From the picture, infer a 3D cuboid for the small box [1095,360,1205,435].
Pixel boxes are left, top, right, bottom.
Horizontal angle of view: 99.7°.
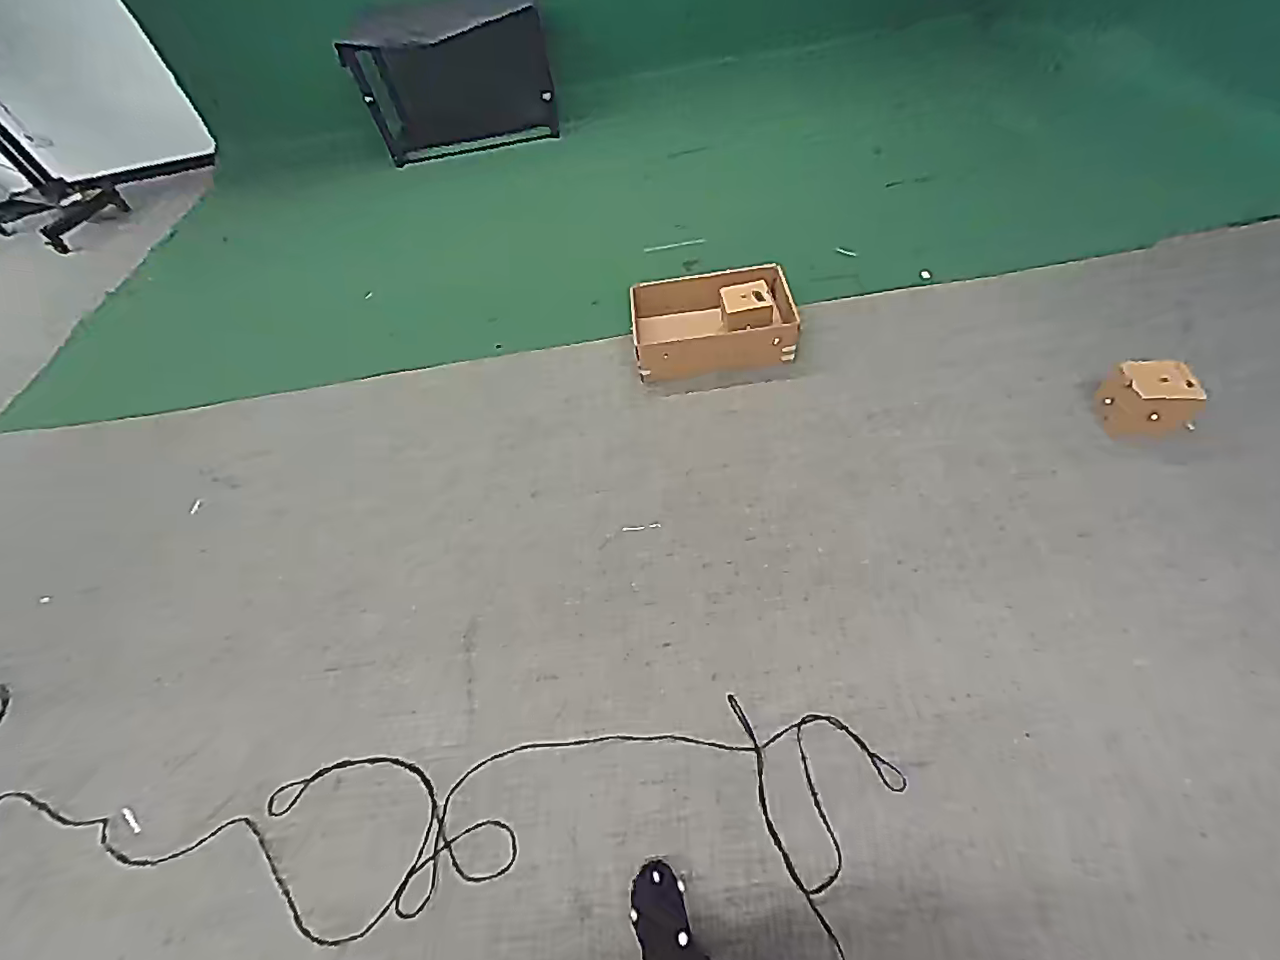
[{"bbox_3d":[1.562,-0.254,1.677,0.179,0.176,0.168,1,53,11],"label":"small box"}]
